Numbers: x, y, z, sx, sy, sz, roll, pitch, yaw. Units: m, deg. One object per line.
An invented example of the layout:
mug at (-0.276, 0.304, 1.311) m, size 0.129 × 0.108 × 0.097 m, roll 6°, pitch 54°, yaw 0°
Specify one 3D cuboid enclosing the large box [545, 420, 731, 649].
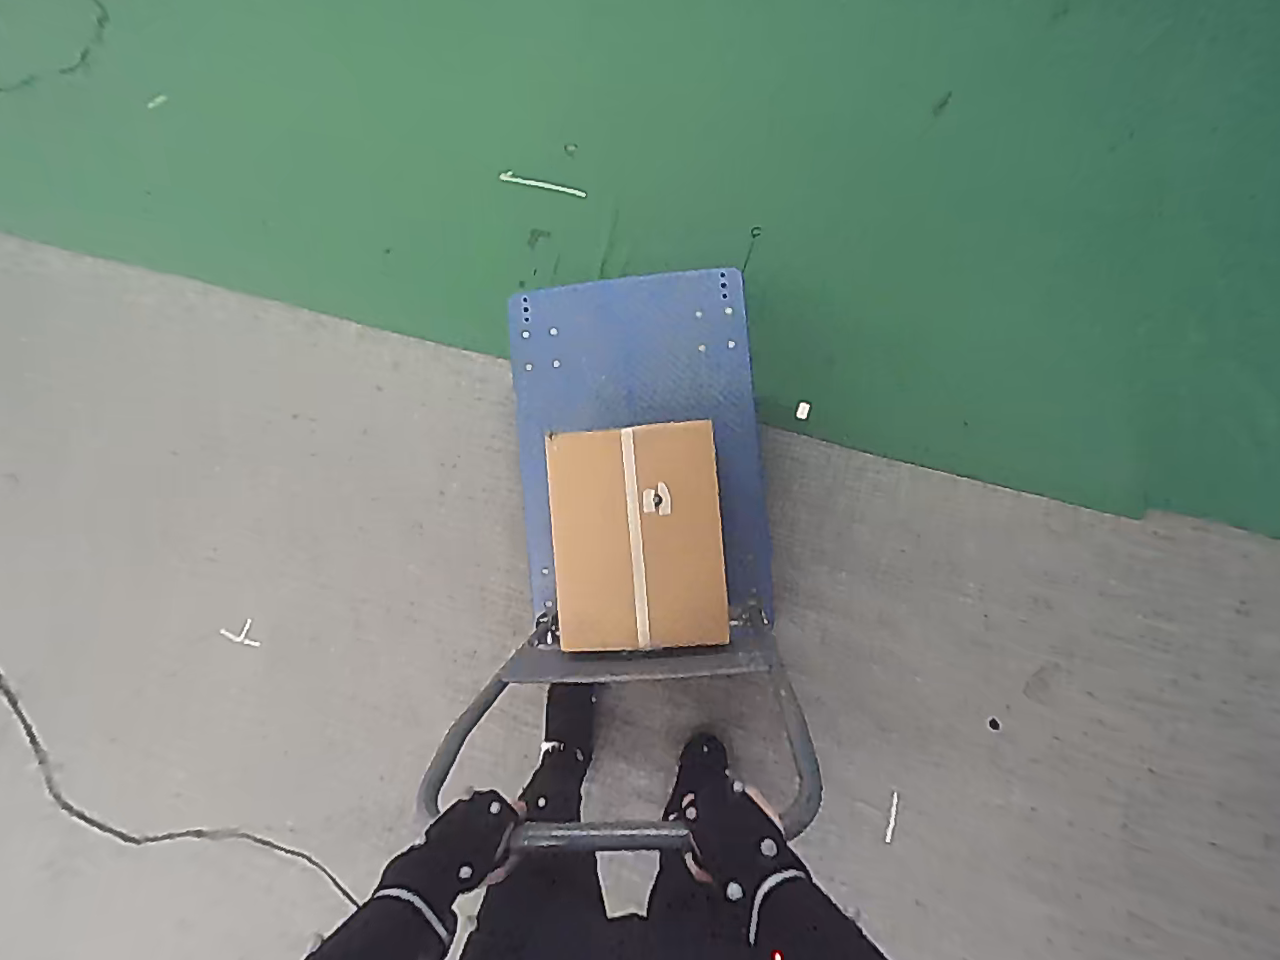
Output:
large box at (0.010, 0.106, 1.140) m, size 0.320 × 0.320 × 0.408 m, roll -5°, pitch 88°, yaw 6°
